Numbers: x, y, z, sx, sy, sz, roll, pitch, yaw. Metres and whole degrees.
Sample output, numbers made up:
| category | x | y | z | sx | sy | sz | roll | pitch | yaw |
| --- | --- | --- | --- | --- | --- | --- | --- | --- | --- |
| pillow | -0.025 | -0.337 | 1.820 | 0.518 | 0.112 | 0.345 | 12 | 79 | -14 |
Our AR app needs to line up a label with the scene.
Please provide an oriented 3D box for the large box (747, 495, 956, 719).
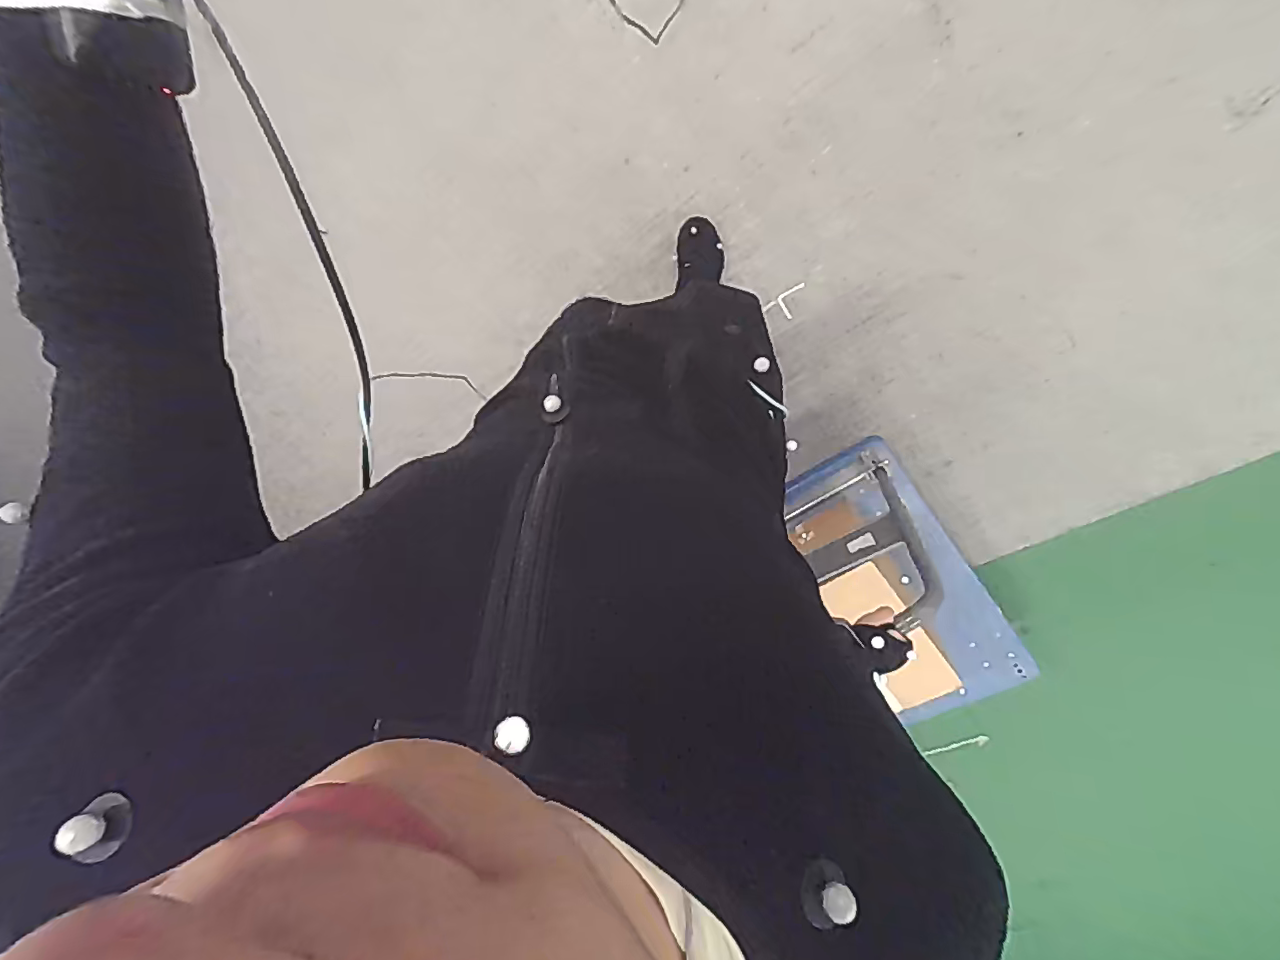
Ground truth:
| category | x | y | z | sx | sy | sz | roll | pitch | yaw |
| --- | --- | --- | --- | --- | --- | --- | --- | --- | --- |
| large box | 0.517 | 0.318 | 1.399 | 0.320 | 0.320 | 0.408 | -34 | 103 | 24 |
